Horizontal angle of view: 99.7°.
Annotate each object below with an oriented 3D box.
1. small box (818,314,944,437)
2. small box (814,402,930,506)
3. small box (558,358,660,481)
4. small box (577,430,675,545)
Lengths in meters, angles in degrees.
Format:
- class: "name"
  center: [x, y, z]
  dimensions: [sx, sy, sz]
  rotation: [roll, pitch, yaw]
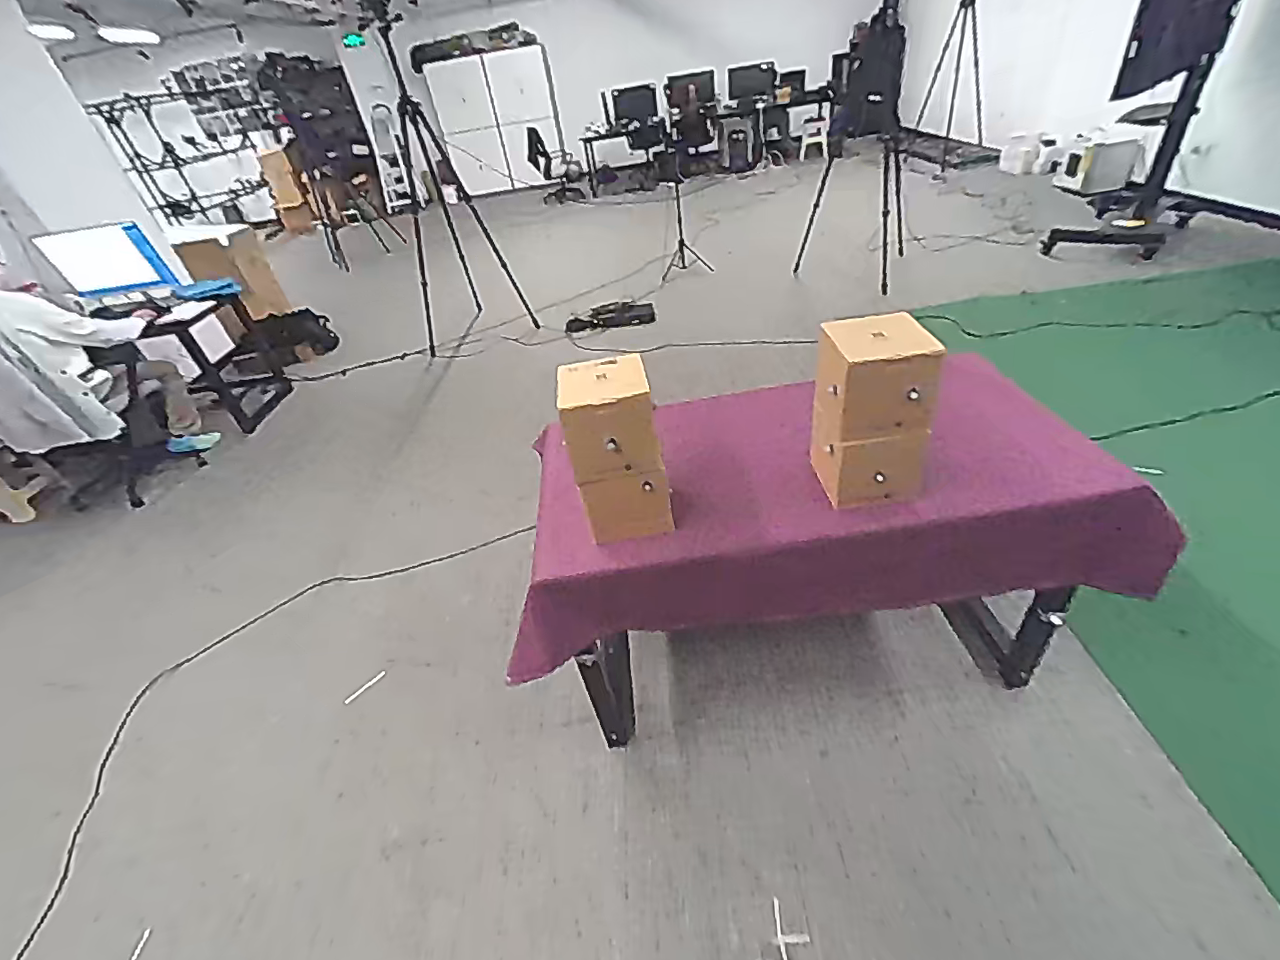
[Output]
- class: "small box"
  center: [0.441, -0.191, 1.020]
  dimensions: [0.168, 0.176, 0.179]
  rotation: [-7, 37, 5]
- class: "small box"
  center: [0.467, -0.061, 1.115]
  dimensions: [0.168, 0.176, 0.179]
  rotation: [-8, 37, 3]
- class: "small box"
  center: [-0.059, -0.113, 1.049]
  dimensions: [0.168, 0.176, 0.179]
  rotation: [-10, 37, 0]
- class: "small box"
  center: [-0.029, 0.018, 1.145]
  dimensions: [0.179, 0.176, 0.168]
  rotation: [-10, 37, 0]
